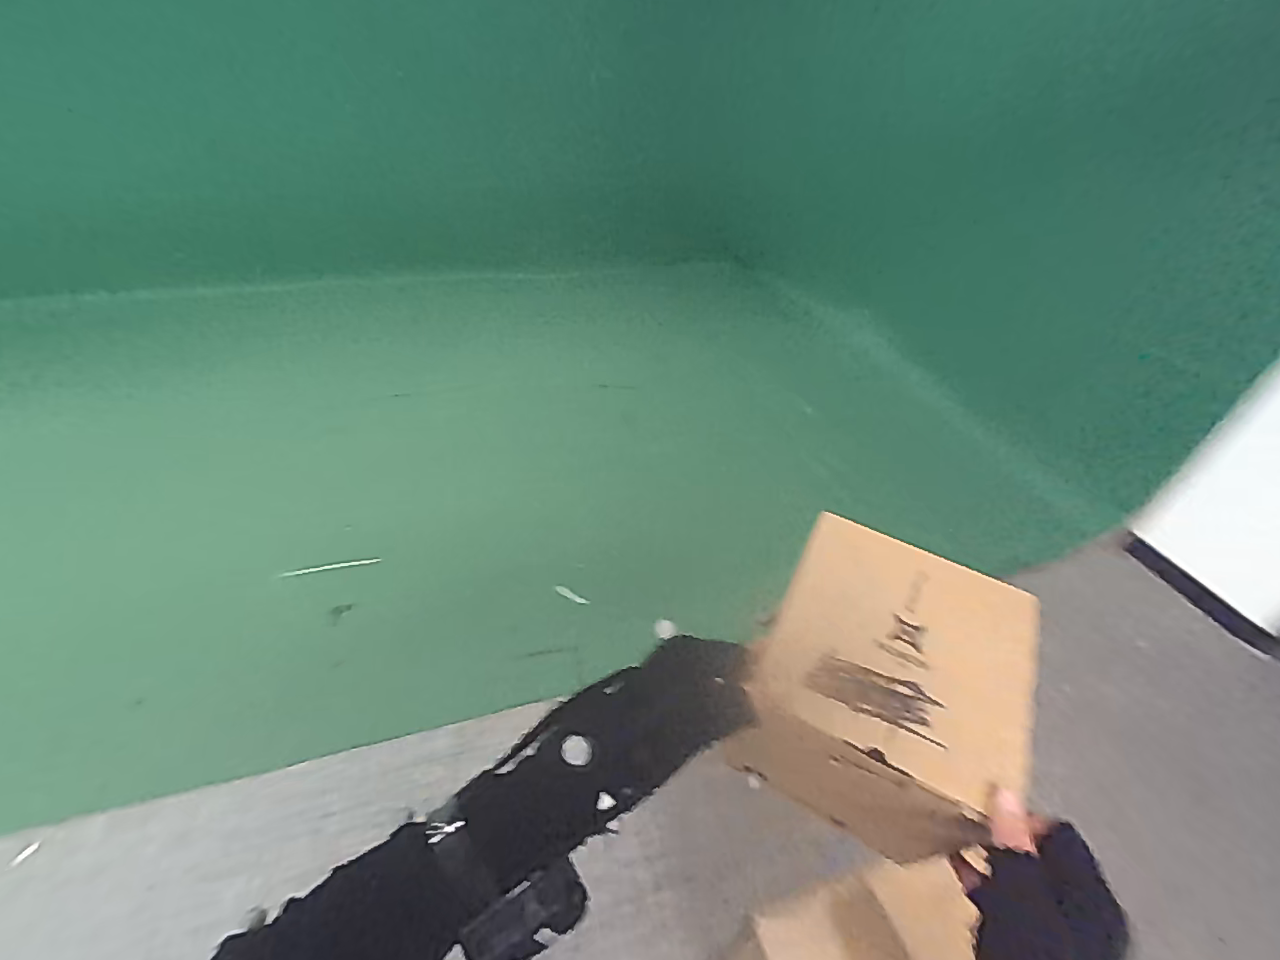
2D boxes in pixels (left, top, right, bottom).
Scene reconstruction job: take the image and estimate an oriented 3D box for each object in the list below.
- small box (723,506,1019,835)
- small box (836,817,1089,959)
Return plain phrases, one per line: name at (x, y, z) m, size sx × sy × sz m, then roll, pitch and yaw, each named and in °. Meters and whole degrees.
small box at (0.179, 0.161, 0.452) m, size 0.168 × 0.176 × 0.179 m, roll 23°, pitch 52°, yaw 16°
small box at (0.349, 0.519, 0.599) m, size 0.168 × 0.176 × 0.179 m, roll -13°, pitch 43°, yaw -14°
